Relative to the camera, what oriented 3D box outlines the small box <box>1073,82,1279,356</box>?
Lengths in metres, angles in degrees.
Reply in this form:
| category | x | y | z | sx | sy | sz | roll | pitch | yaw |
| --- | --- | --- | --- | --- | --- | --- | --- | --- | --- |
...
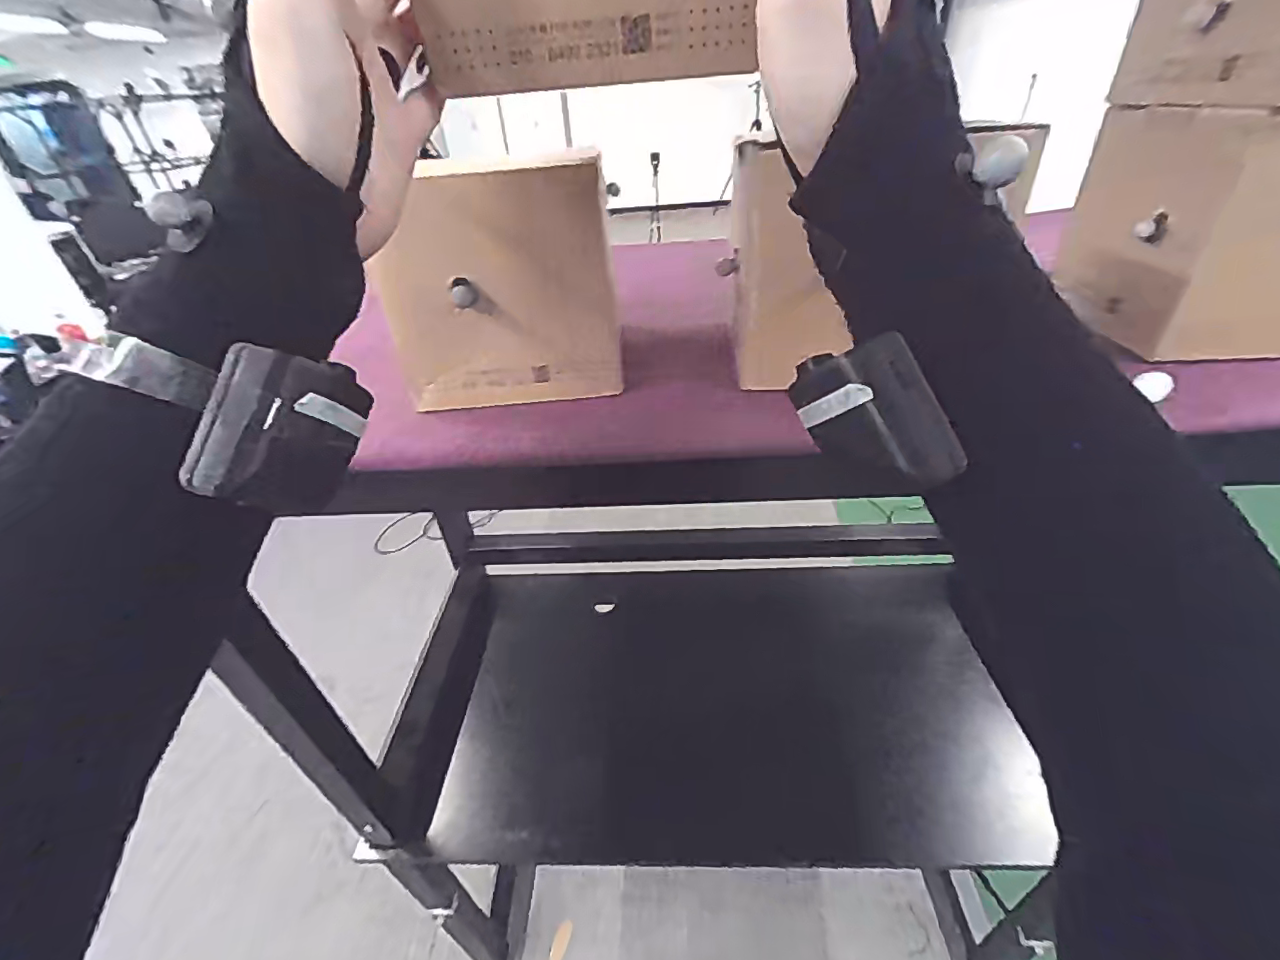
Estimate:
| category | x | y | z | sx | sy | sz | roll | pitch | yaw |
| --- | --- | --- | --- | --- | --- | --- | --- | --- | --- |
| small box | 0.470 | -0.198 | 0.401 | 0.179 | 0.176 | 0.168 | 1 | 37 | 8 |

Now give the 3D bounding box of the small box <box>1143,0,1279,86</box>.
| category | x | y | z | sx | sy | sz | roll | pitch | yaw |
| --- | --- | --- | --- | --- | --- | --- | --- | --- | --- |
| small box | 0.459 | -0.329 | 0.303 | 0.179 | 0.176 | 0.168 | -4 | 36 | 3 |

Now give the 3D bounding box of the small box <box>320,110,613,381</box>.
| category | x | y | z | sx | sy | sz | roll | pitch | yaw |
| --- | --- | --- | --- | --- | --- | --- | --- | --- | --- |
| small box | -0.110 | -0.187 | 0.436 | 0.168 | 0.176 | 0.179 | -4 | 36 | 0 |
